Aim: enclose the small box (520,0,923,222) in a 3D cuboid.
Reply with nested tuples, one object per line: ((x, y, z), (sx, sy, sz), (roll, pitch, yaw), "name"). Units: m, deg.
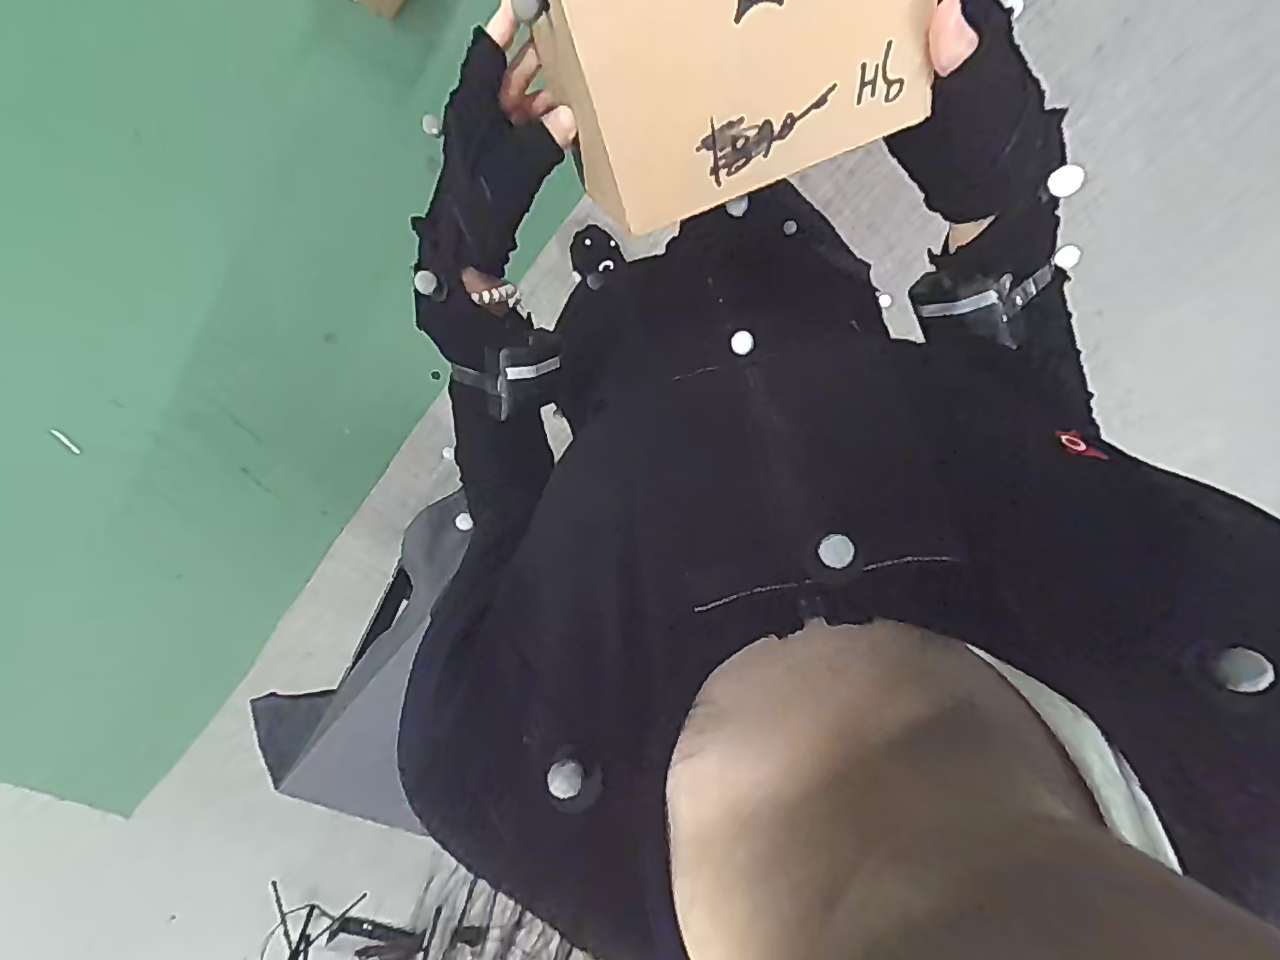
((0.026, -0.268, 0.294), (0.168, 0.176, 0.179), (-22, 126, 0), "small box")

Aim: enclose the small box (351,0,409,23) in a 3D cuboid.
((-0.484, -0.950, 0.943), (0.168, 0.176, 0.179), (-42, 115, 18), "small box")
